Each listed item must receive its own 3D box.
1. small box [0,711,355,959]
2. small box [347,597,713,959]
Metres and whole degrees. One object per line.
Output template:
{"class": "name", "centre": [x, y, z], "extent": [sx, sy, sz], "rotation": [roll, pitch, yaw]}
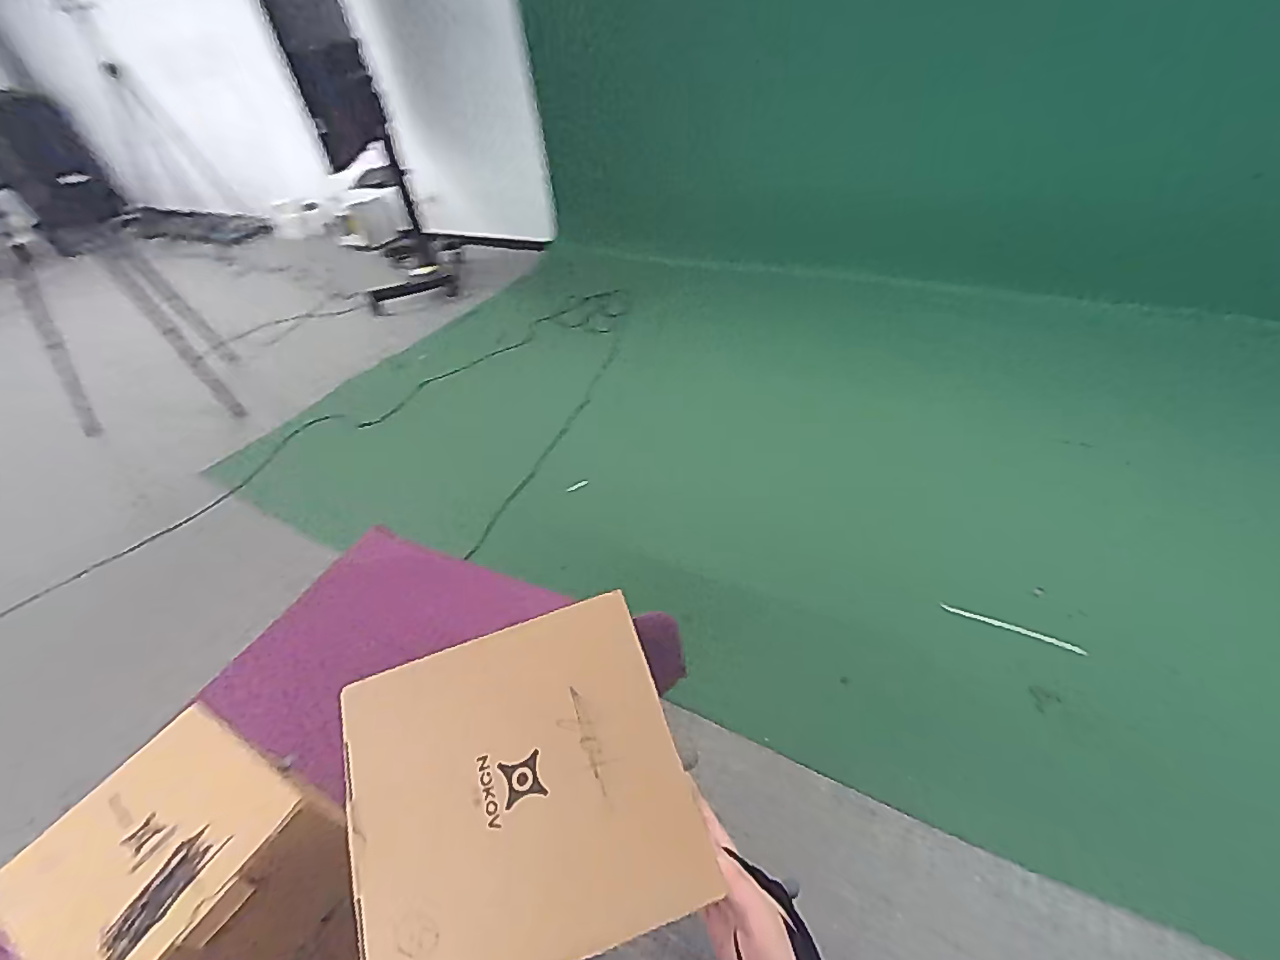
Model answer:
{"class": "small box", "centre": [-0.377, 0.348, 0.479], "extent": [0.179, 0.176, 0.168], "rotation": [16, 47, 26]}
{"class": "small box", "centre": [-0.063, 0.204, 0.360], "extent": [0.179, 0.176, 0.168], "rotation": [-18, 61, -7]}
